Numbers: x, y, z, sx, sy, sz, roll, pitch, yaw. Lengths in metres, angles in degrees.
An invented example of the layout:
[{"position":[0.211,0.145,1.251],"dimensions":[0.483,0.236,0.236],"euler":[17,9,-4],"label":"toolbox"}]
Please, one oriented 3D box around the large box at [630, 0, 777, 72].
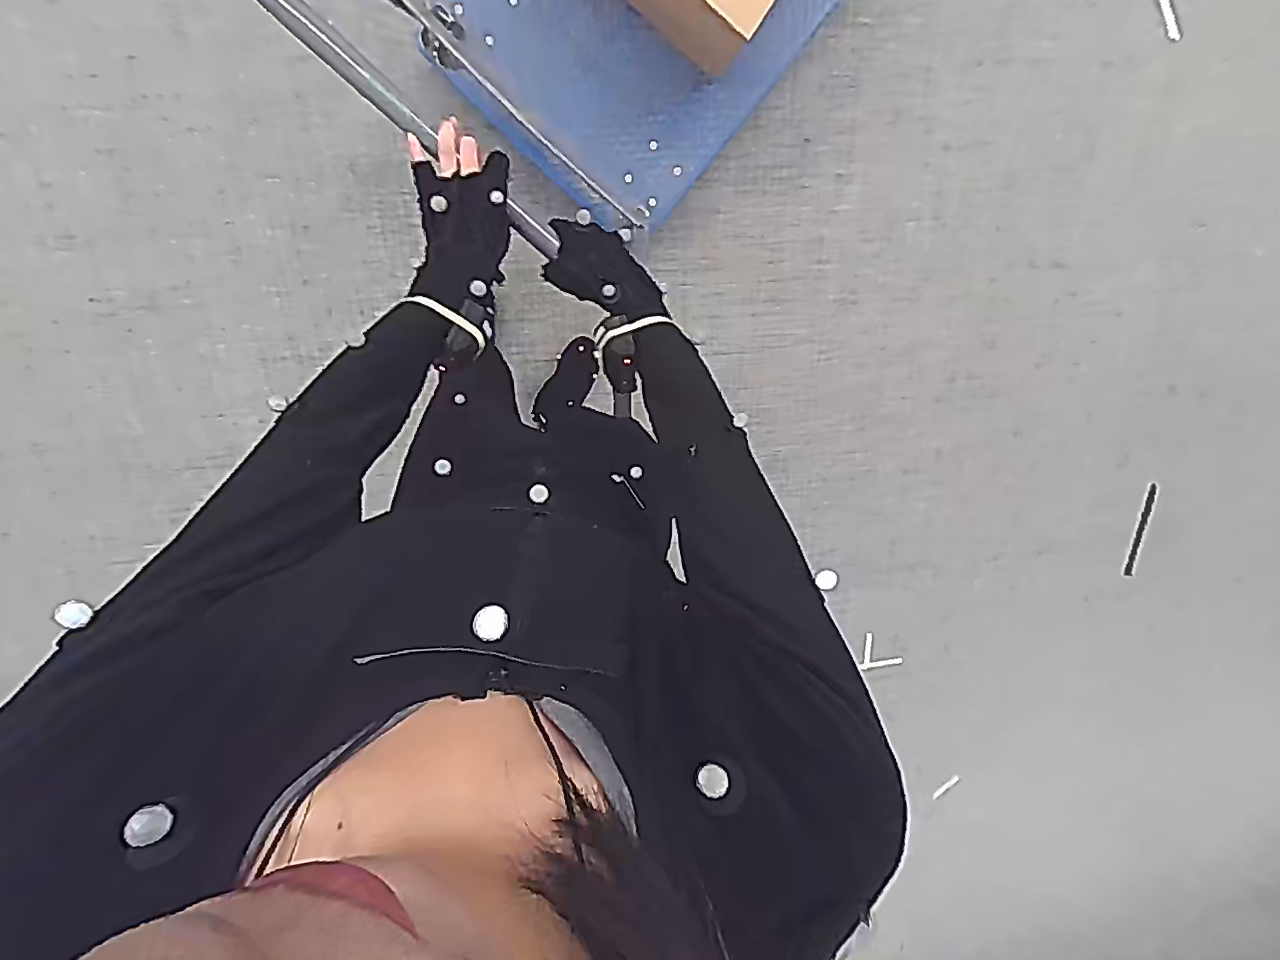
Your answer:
[{"position":[0.081,-0.948,0.839],"dimensions":[0.408,0.320,0.320],"euler":[29,113,-17],"label":"large box"}]
